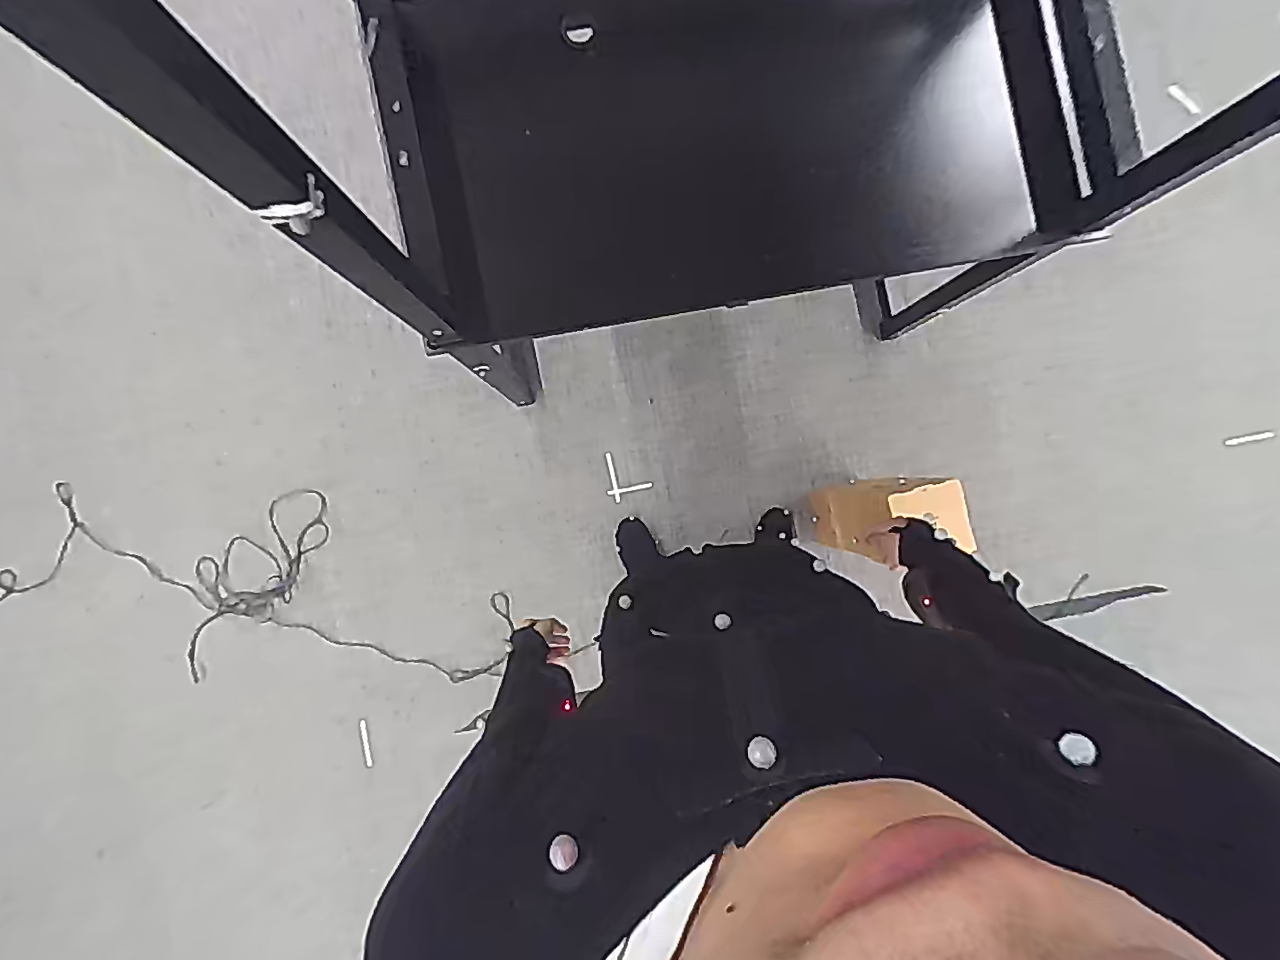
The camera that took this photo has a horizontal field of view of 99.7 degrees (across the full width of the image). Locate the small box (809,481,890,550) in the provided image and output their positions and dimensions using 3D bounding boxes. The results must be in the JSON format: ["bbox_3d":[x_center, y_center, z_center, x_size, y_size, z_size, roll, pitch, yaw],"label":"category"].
[{"bbox_3d":[0.617,0.097,1.571,0.179,0.176,0.168,-13,90,-1],"label":"small box"}]

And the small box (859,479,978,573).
[{"bbox_3d":[0.631,0.099,1.244,0.168,0.176,0.179,-14,90,-2],"label":"small box"}]
